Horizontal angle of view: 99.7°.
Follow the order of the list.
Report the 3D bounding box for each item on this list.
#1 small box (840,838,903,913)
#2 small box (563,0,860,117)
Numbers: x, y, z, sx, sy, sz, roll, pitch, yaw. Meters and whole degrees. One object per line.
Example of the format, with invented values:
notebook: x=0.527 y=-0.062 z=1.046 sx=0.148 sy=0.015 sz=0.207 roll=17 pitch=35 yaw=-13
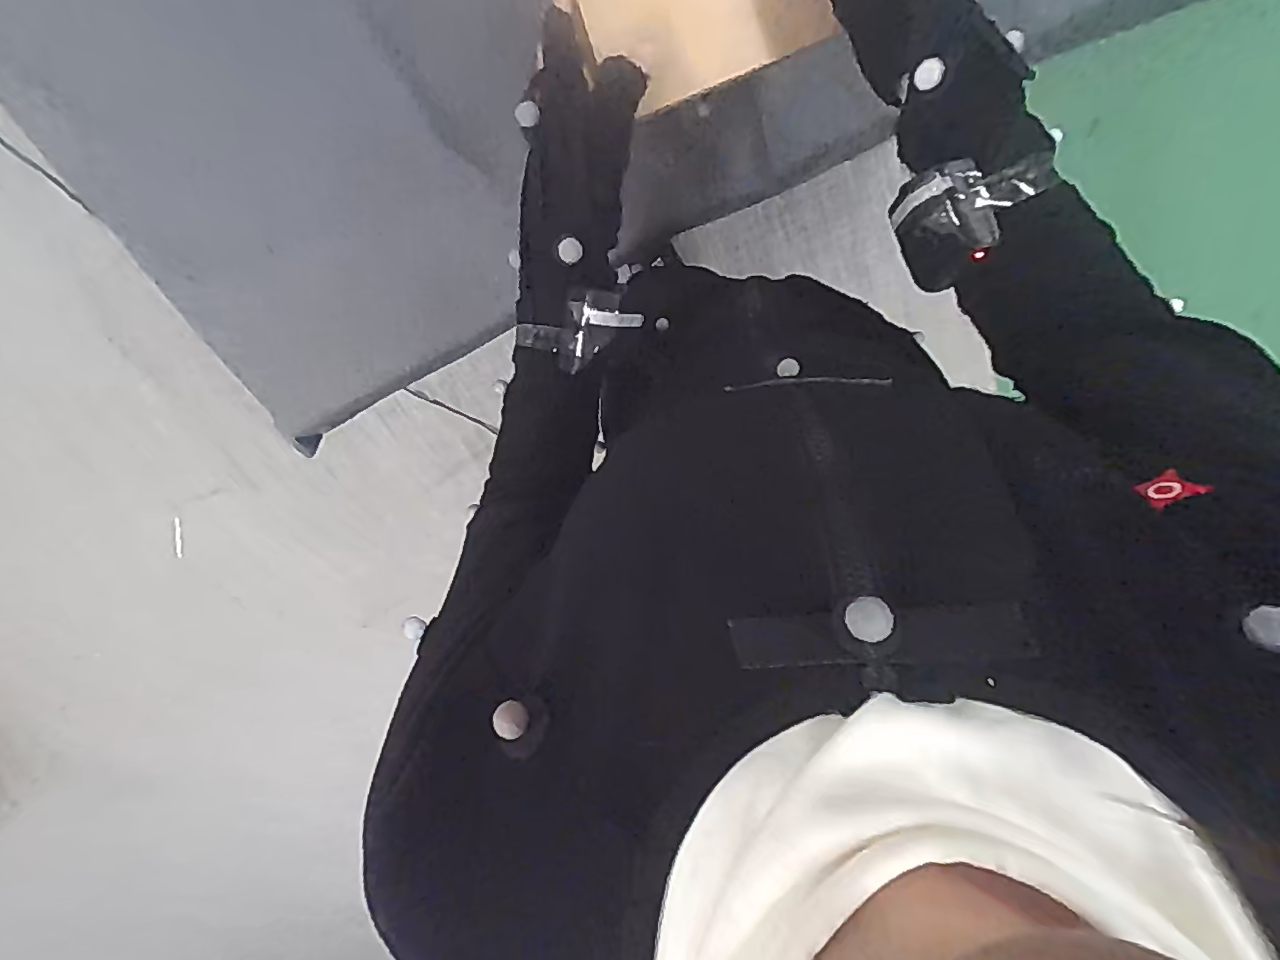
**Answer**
small box: x=0.904 y=1.552 z=2.127 sx=0.179 sy=0.176 sz=0.168 roll=-20 pitch=117 yaw=8
small box: x=0.031 y=-0.383 z=0.385 sx=0.179 sy=0.176 sz=0.168 roll=-17 pitch=120 yaw=2
